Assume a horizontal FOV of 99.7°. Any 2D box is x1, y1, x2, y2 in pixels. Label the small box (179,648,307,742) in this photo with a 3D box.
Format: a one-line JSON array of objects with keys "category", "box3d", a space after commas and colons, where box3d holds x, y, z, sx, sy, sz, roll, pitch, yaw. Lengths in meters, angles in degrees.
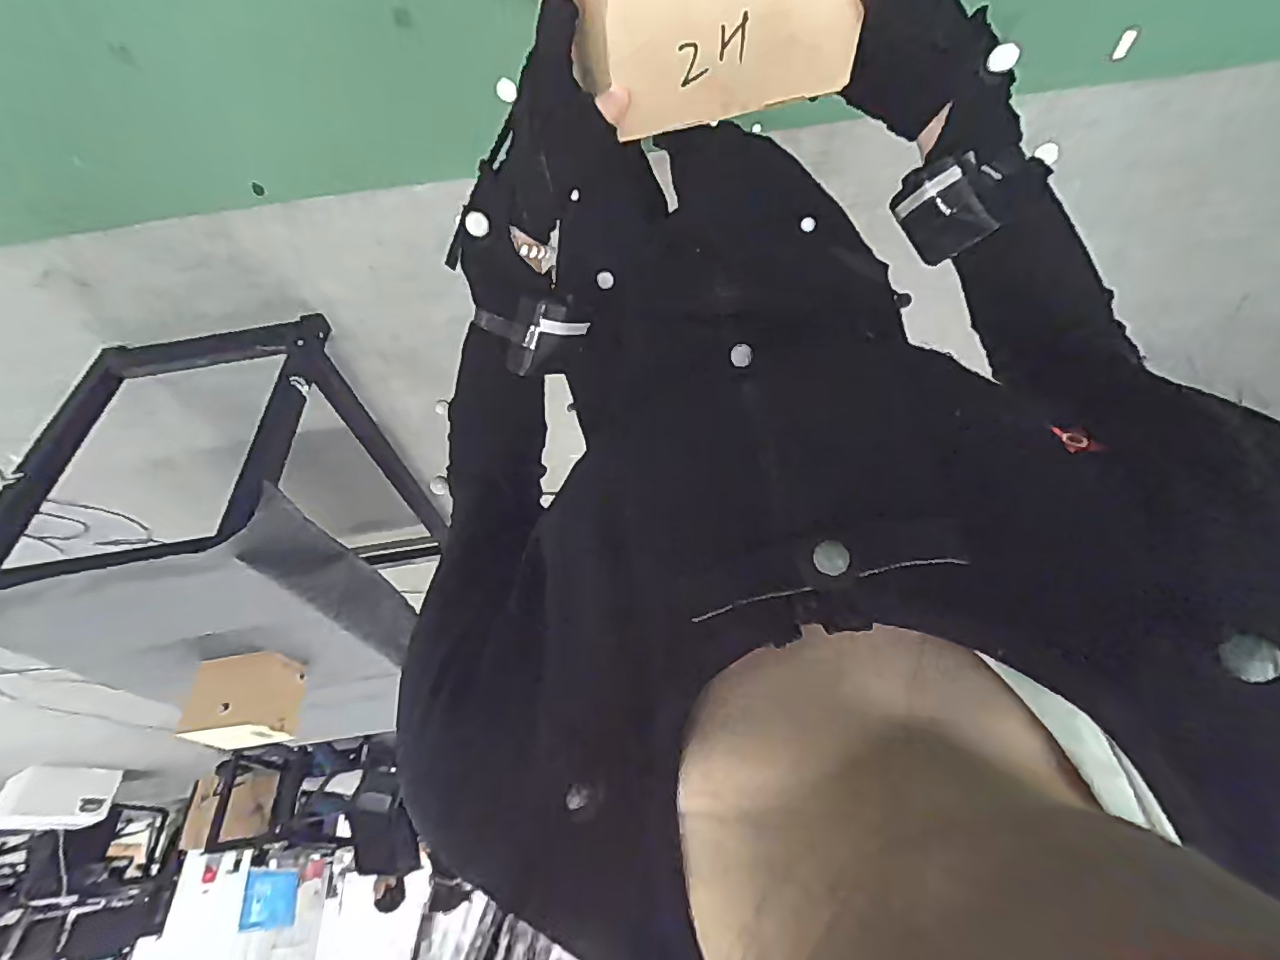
[{"category": "small box", "box3d": [-0.931, 0.512, 1.294, 0.179, 0.176, 0.168, -8, 144, 1]}]
